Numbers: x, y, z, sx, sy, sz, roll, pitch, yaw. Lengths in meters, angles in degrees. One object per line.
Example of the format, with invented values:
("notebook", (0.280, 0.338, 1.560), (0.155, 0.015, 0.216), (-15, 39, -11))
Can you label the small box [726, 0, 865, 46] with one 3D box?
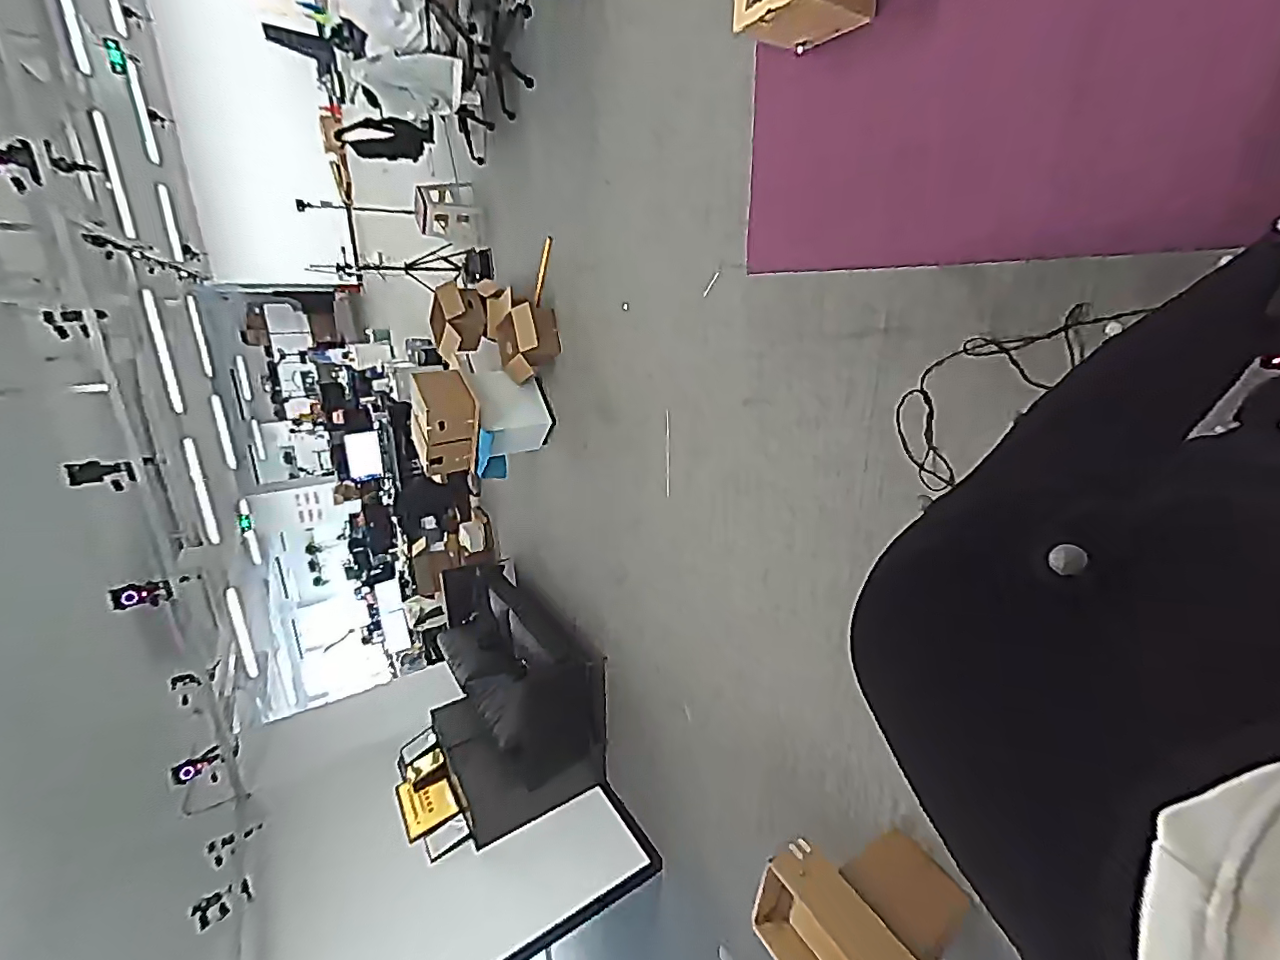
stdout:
("small box", (0.261, -0.846, 0.885), (0.168, 0.176, 0.179), (26, 123, 51))
